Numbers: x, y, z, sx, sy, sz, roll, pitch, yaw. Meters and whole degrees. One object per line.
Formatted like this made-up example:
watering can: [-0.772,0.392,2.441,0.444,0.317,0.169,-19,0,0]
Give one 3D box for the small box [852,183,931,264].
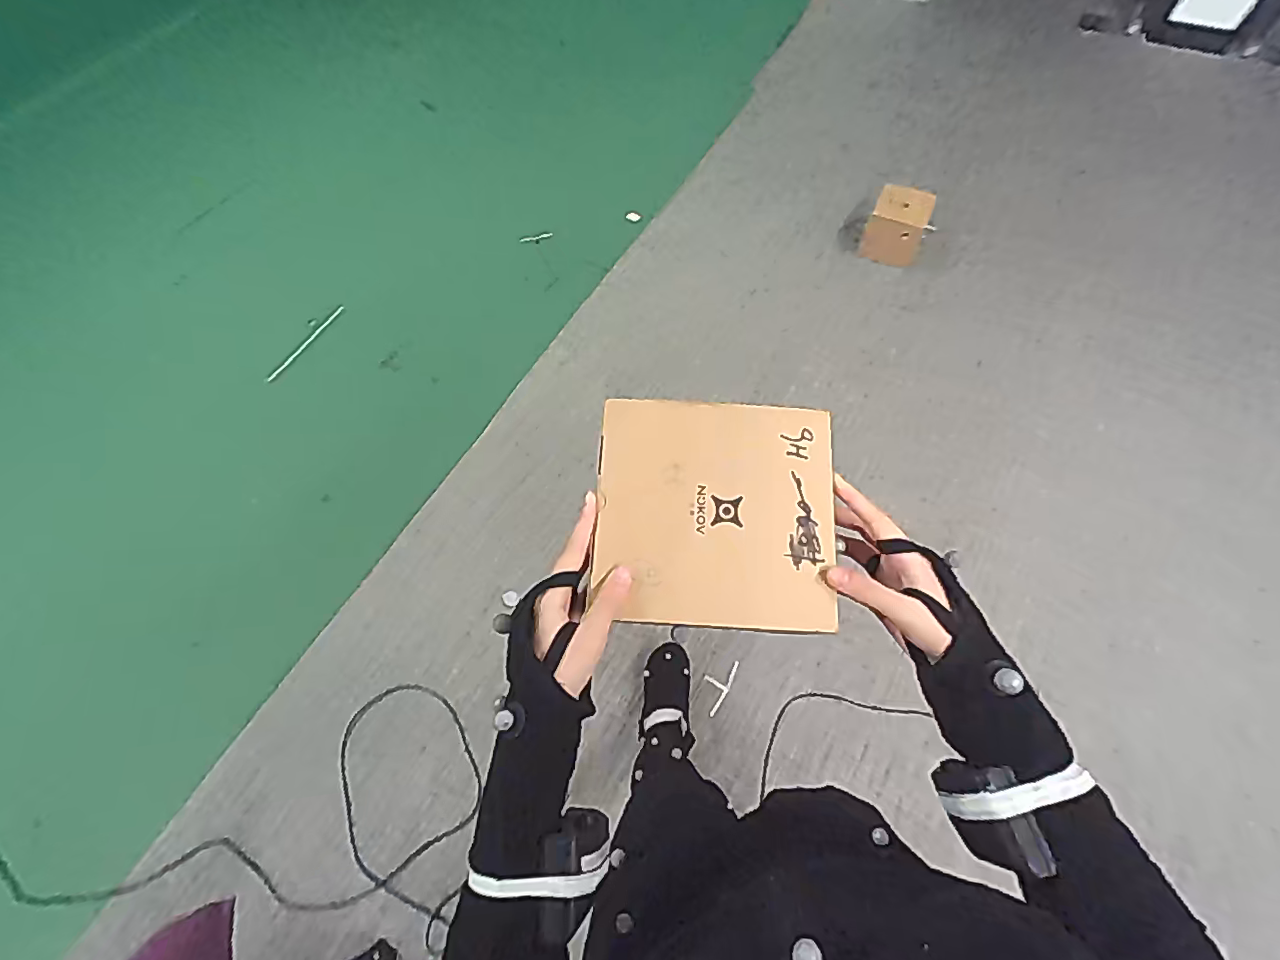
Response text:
small box: [0.852,-0.867,1.841,0.179,0.176,0.168,23,69,16]
